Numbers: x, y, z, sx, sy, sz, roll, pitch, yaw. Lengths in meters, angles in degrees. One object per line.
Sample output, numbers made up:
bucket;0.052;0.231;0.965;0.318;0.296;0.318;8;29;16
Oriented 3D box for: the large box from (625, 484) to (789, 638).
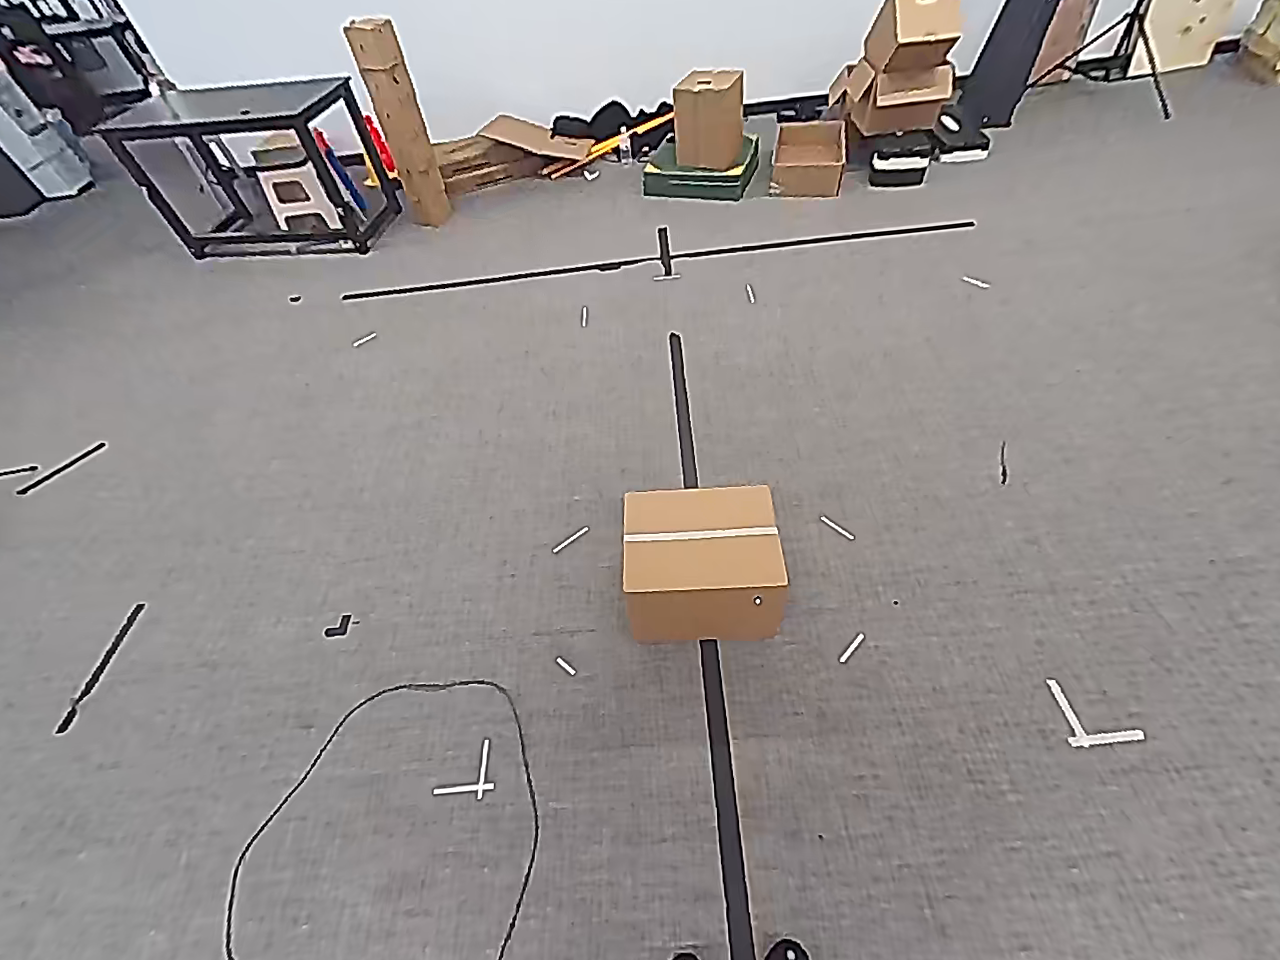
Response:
large box;0.174;0.236;1.521;0.408;0.320;0.320;-3;51;3
